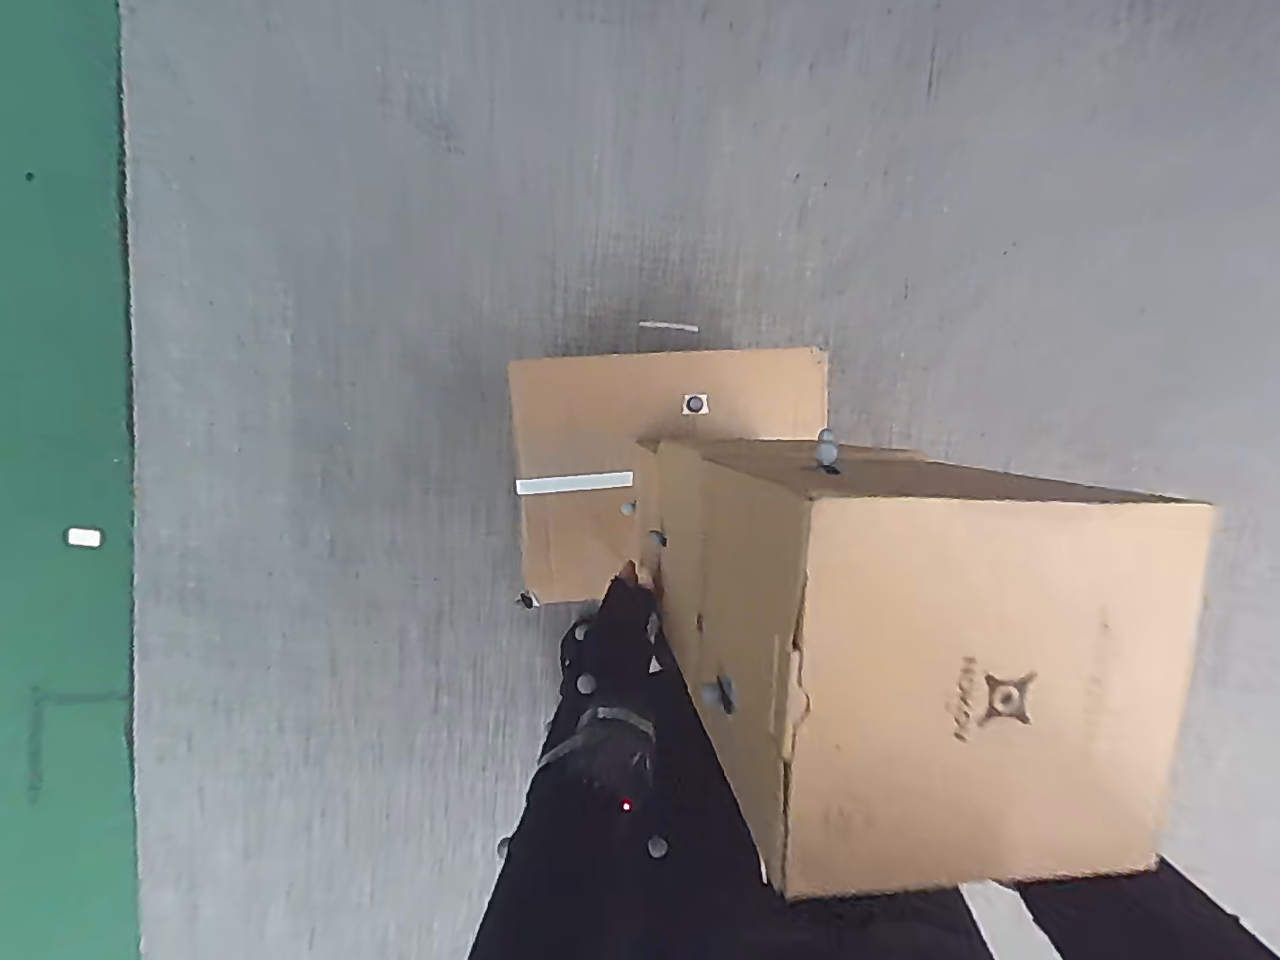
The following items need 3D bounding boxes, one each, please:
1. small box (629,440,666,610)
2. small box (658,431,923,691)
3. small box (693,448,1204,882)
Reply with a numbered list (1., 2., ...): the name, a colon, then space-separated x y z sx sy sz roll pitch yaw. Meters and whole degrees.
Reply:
1. small box: 0.085 0.042 0.620 0.179 0.176 0.168 2 97 -6
2. small box: 0.109 0.053 0.459 0.168 0.176 0.179 -1 99 -7
3. small box: 0.132 0.073 0.299 0.179 0.176 0.168 1 99 -9
